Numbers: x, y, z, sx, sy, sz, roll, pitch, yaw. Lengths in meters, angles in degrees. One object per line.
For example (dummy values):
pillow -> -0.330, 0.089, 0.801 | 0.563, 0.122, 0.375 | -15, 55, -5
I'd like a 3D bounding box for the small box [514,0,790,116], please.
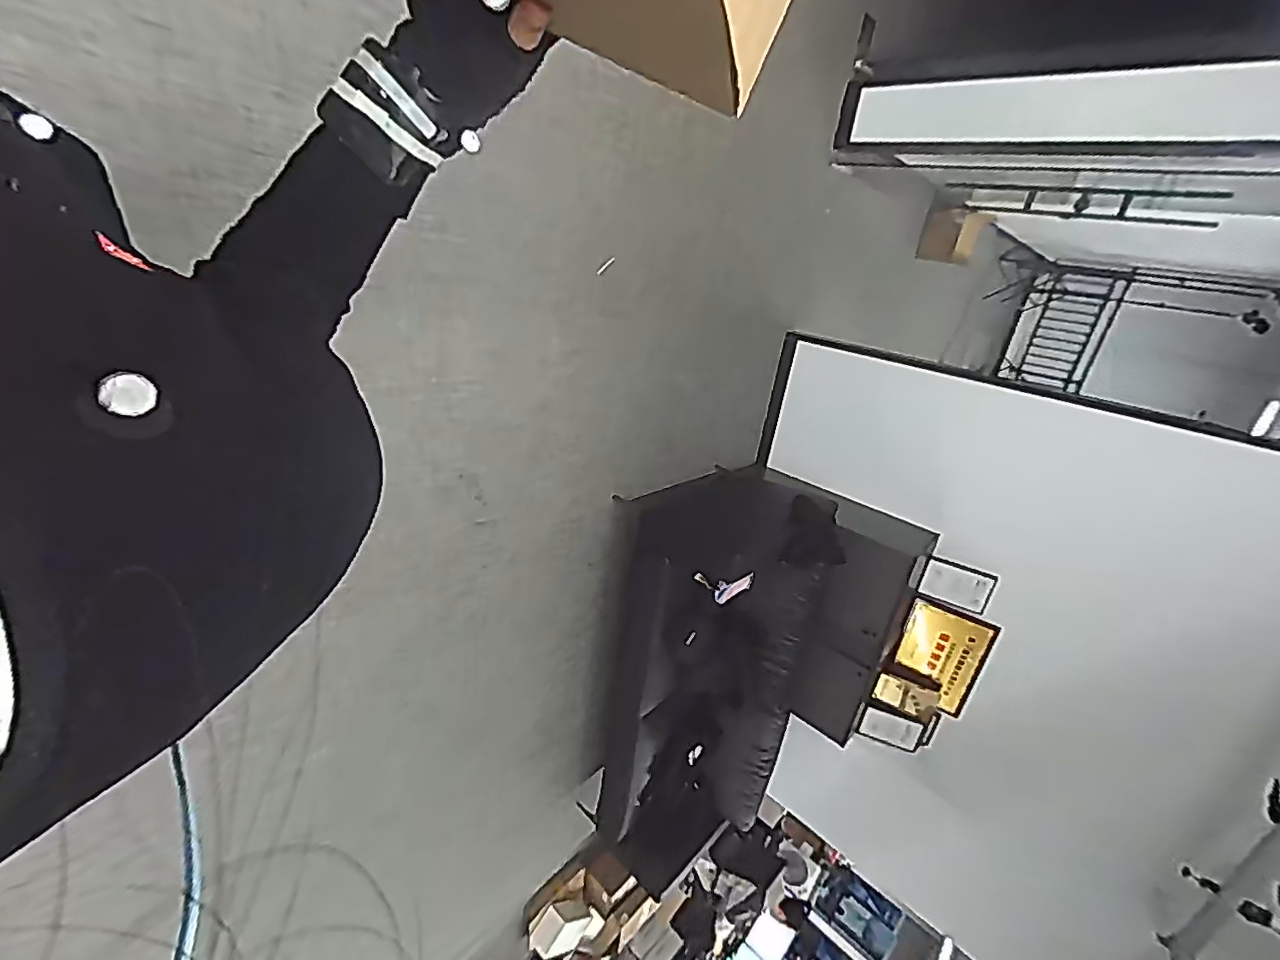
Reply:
small box -> 0.006, -0.296, 0.226 | 0.179, 0.176, 0.168 | -65, -179, -66
